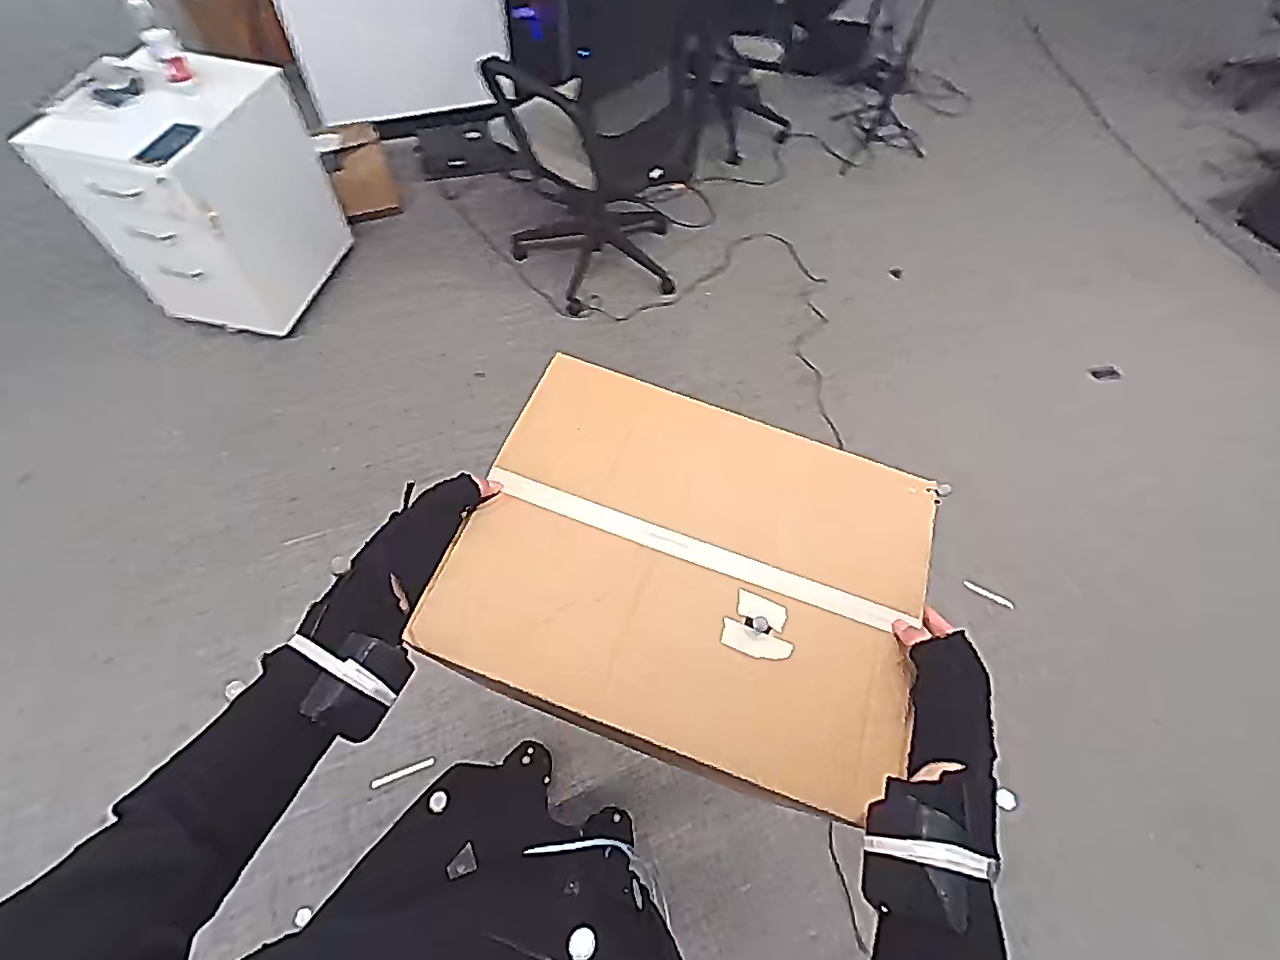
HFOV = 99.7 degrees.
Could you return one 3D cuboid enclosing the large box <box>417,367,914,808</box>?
[{"bbox_3d":[0.032,0.132,0.628,0.408,0.320,0.320,19,64,3],"label":"large box"}]
